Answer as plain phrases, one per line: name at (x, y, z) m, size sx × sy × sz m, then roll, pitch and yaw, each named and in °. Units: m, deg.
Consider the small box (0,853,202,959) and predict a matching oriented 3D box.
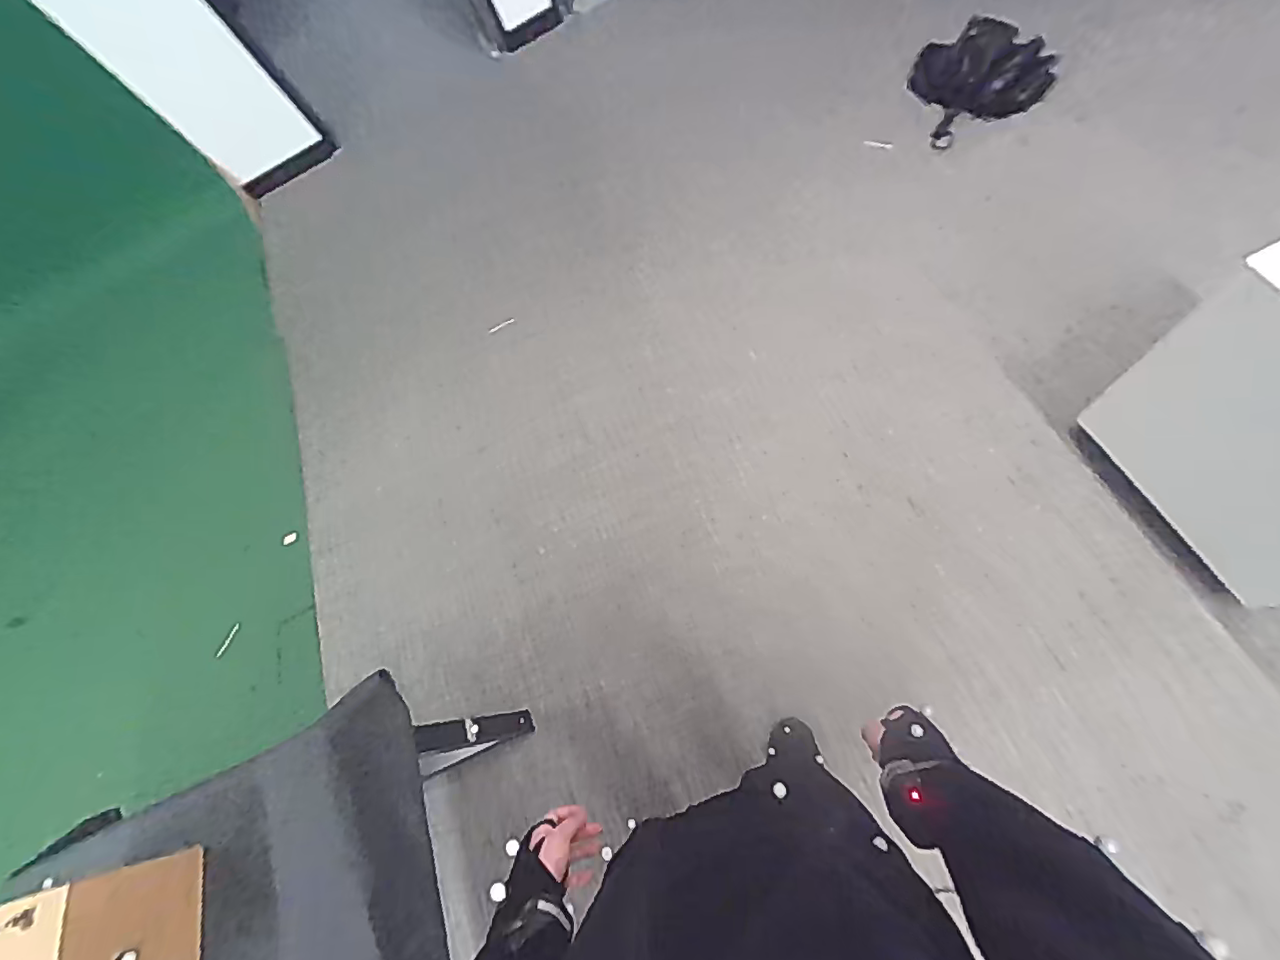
small box at (-0.706, 0.618, 0.690) m, size 0.168 × 0.176 × 0.179 m, roll -21°, pitch 67°, yaw 6°
